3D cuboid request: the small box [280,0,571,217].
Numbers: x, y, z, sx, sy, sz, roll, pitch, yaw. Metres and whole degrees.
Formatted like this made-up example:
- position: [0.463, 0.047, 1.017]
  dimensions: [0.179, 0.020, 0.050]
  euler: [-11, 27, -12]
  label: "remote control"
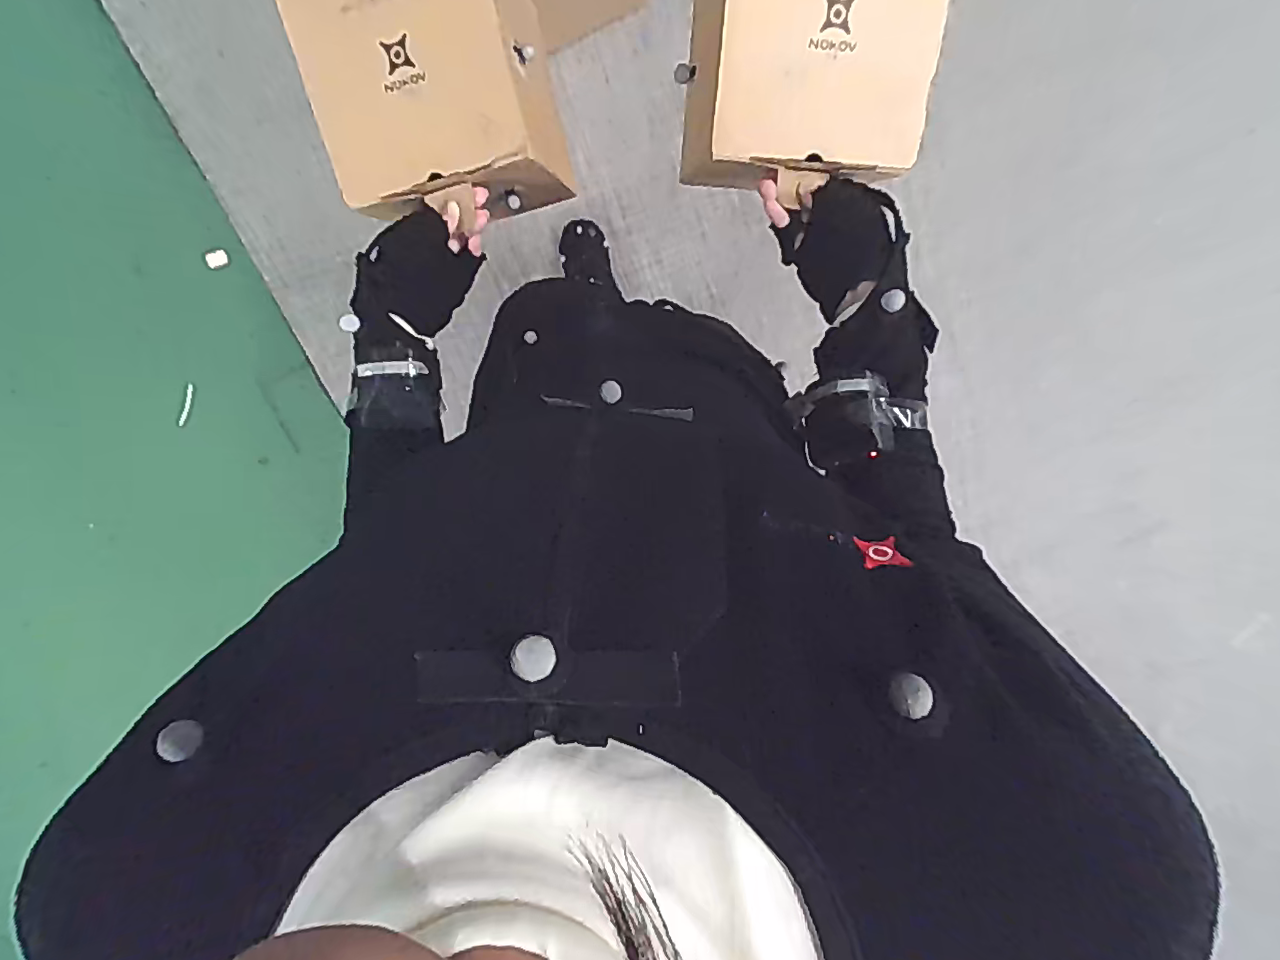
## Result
- position: [-0.174, -0.354, 0.490]
  dimensions: [0.168, 0.176, 0.179]
  euler: [-12, 104, 10]
  label: "small box"
